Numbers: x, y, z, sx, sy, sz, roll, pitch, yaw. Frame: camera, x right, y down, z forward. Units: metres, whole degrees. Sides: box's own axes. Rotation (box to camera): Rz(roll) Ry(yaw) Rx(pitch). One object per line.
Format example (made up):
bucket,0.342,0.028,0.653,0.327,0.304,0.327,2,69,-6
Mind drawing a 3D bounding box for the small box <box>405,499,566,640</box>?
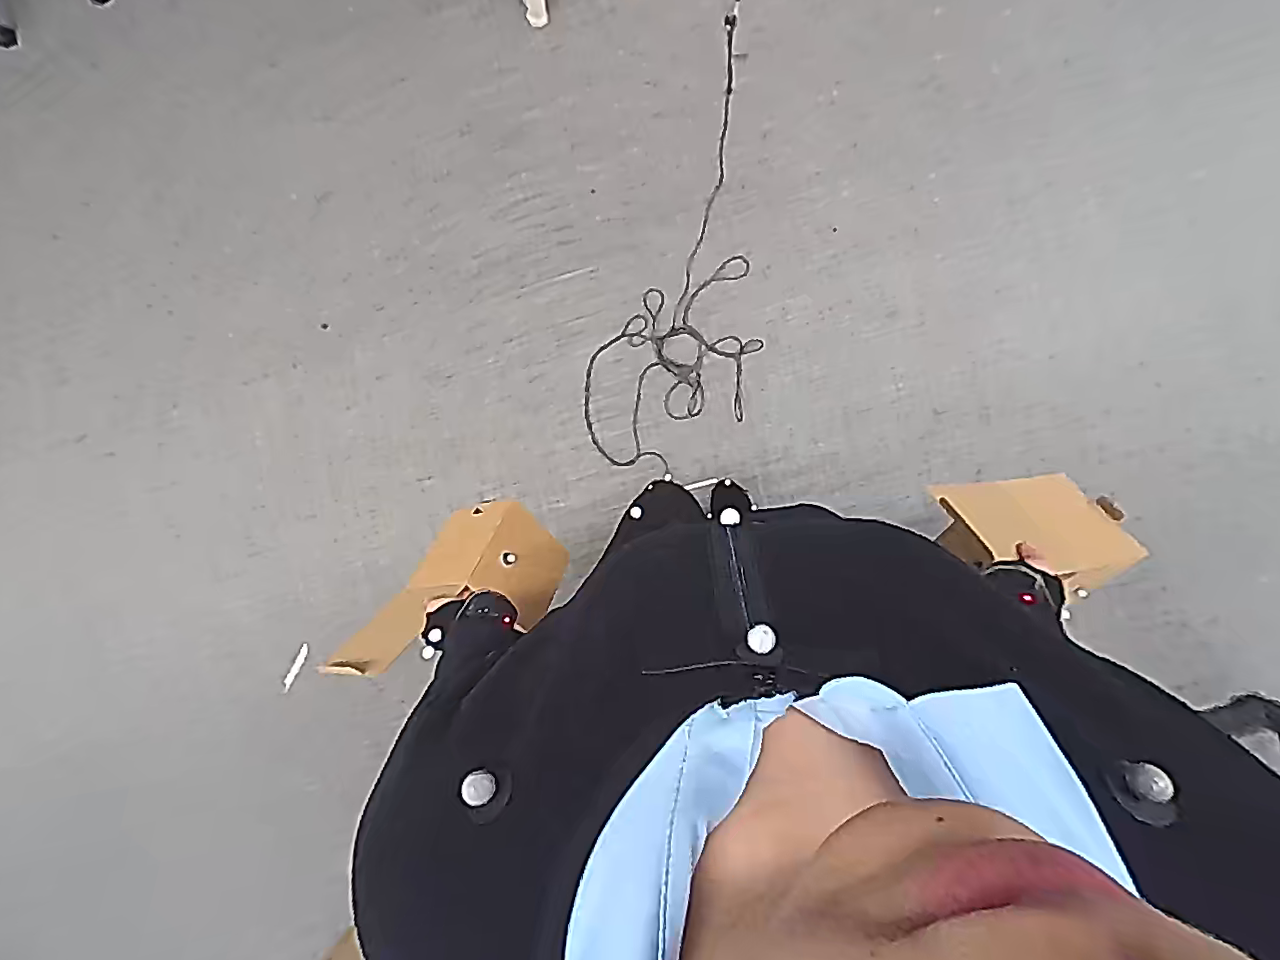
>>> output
small box,-0.255,0.160,0.934,0.168,0.179,0.176,-11,130,34
